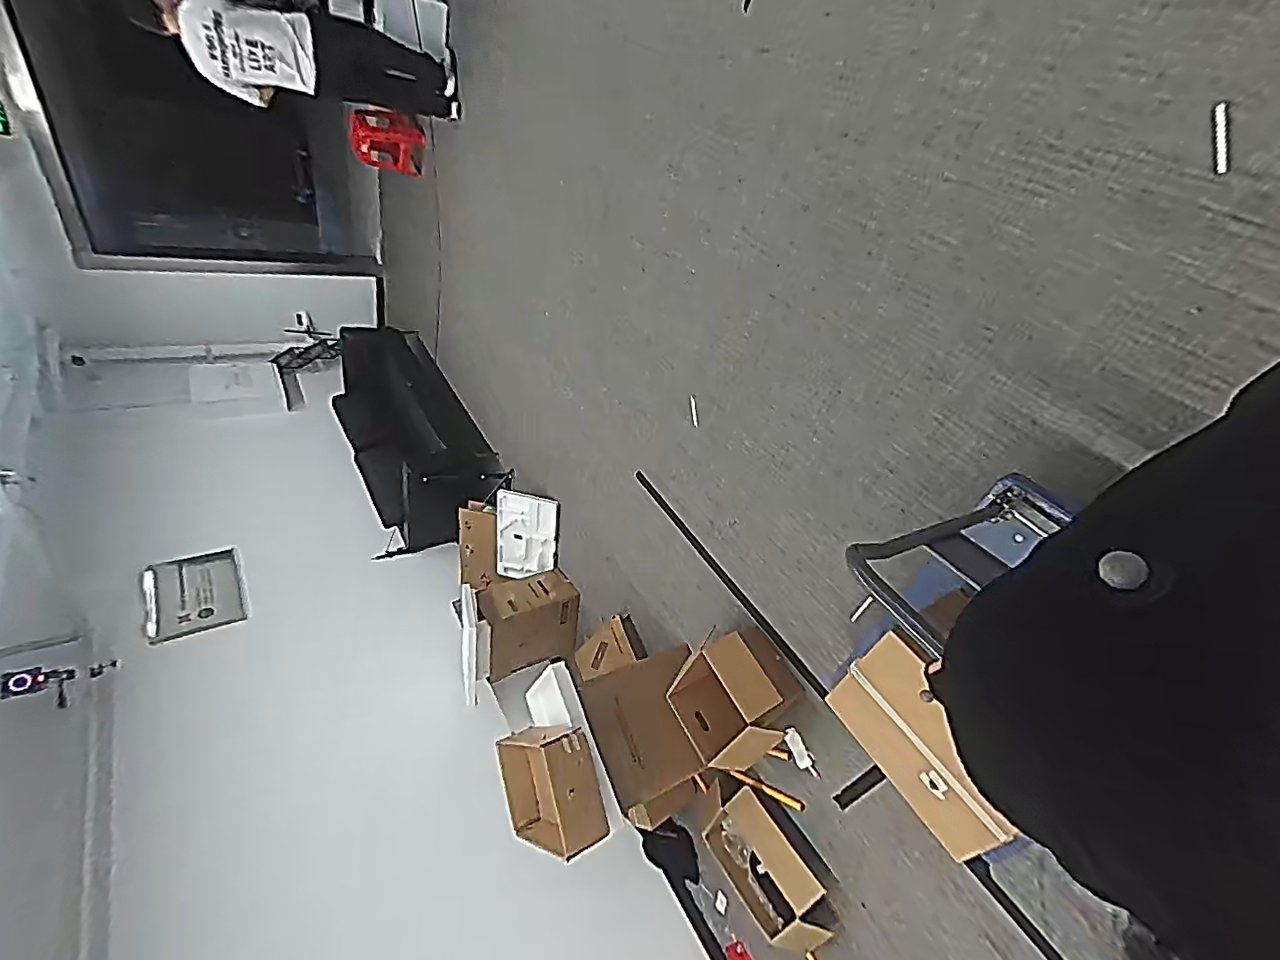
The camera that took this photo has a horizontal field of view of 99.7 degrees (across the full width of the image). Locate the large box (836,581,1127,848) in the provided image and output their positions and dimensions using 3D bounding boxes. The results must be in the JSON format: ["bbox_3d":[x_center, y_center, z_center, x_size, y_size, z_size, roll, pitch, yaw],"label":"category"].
[{"bbox_3d":[0.749,0.506,1.233,0.408,0.320,0.320,50,138,33],"label":"large box"}]
